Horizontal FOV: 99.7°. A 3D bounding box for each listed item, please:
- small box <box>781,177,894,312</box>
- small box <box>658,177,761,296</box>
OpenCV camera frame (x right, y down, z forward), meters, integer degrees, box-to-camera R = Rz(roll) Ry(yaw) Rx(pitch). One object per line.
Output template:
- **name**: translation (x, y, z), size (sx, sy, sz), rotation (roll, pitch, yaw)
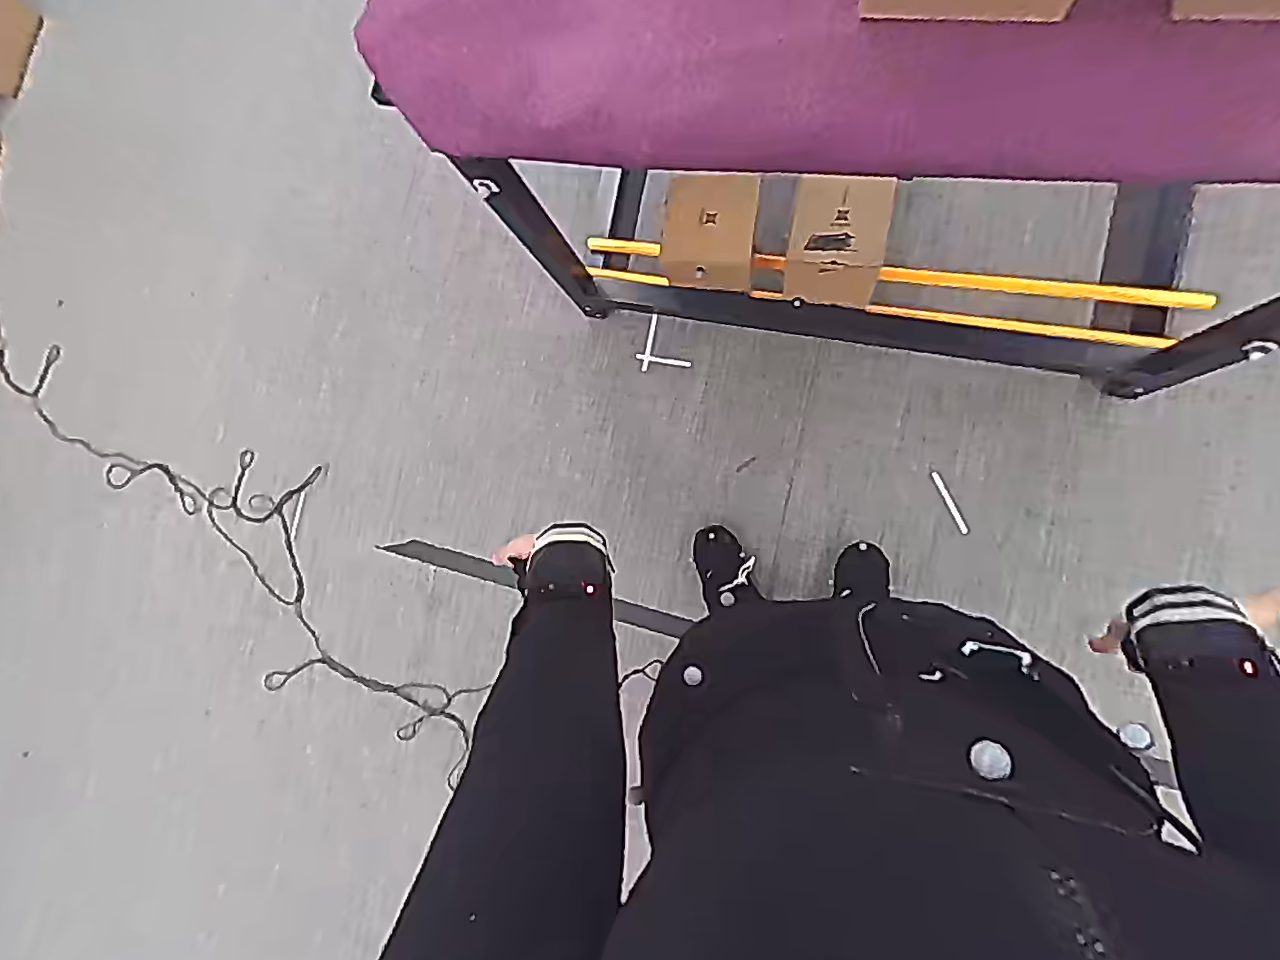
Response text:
- **small box**: translation (0.371, -0.446, 1.043), size (0.168, 0.176, 0.179), rotation (11, 81, 13)
- **small box**: translation (0.146, -0.486, 1.100), size (0.179, 0.176, 0.168), rotation (8, 89, 13)
